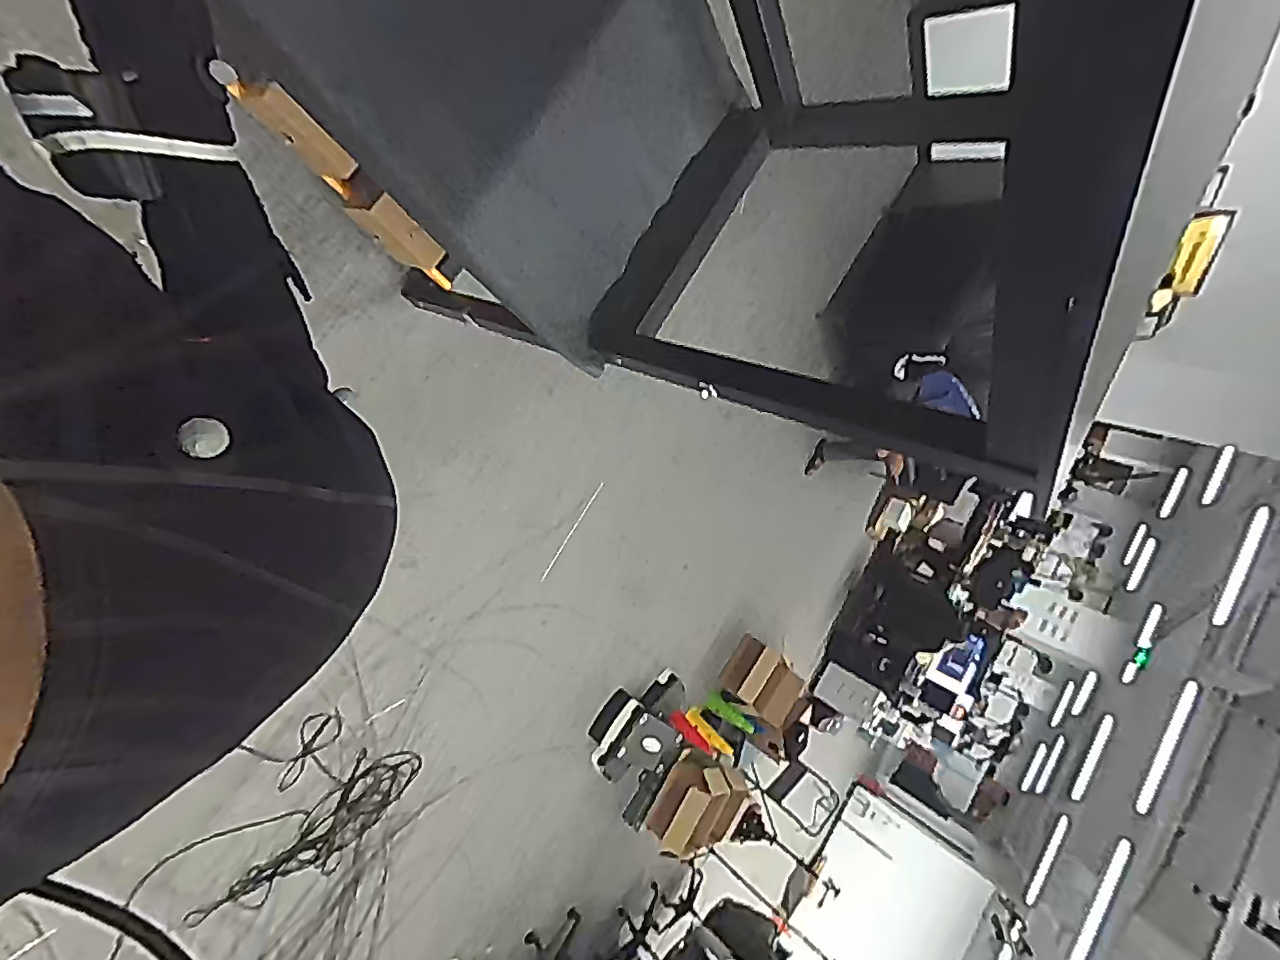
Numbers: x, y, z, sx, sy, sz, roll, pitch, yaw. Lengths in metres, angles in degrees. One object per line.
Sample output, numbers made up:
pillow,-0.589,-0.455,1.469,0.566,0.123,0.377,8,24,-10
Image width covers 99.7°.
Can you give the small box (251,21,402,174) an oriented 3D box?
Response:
small box,-0.602,-0.715,1.031,0.179,0.176,0.168,-57,141,-7
